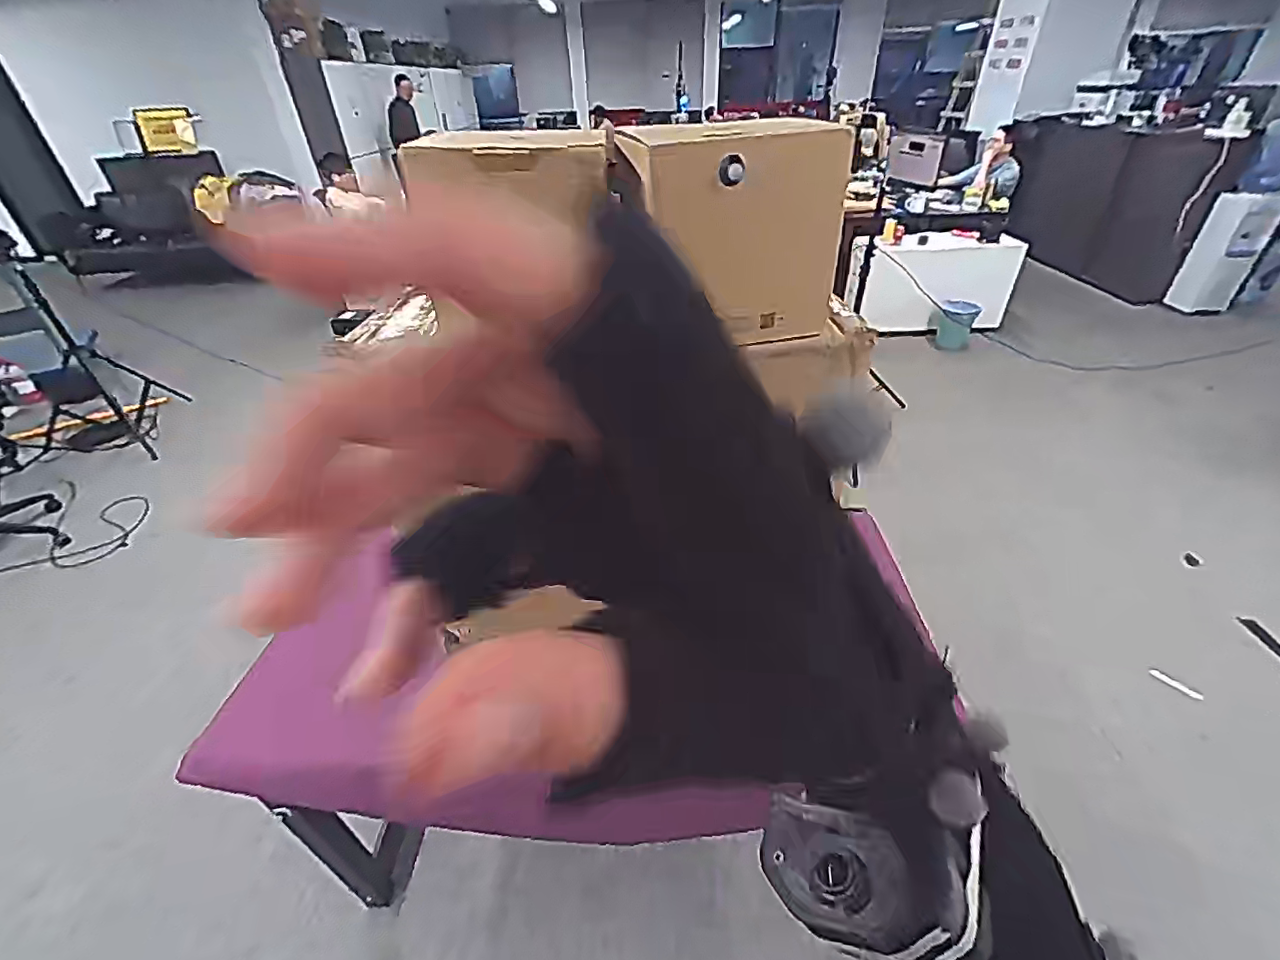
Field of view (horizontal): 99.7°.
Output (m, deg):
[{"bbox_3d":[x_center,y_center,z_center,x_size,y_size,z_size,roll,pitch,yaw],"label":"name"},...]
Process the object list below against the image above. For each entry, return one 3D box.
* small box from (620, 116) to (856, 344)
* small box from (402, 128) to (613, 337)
[{"bbox_3d":[0.076,-0.244,0.520,0.168,0.176,0.179,-9,35,-7],"label":"small box"},{"bbox_3d":[-0.113,-0.250,0.544,0.168,0.176,0.179,-2,34,-3],"label":"small box"}]
